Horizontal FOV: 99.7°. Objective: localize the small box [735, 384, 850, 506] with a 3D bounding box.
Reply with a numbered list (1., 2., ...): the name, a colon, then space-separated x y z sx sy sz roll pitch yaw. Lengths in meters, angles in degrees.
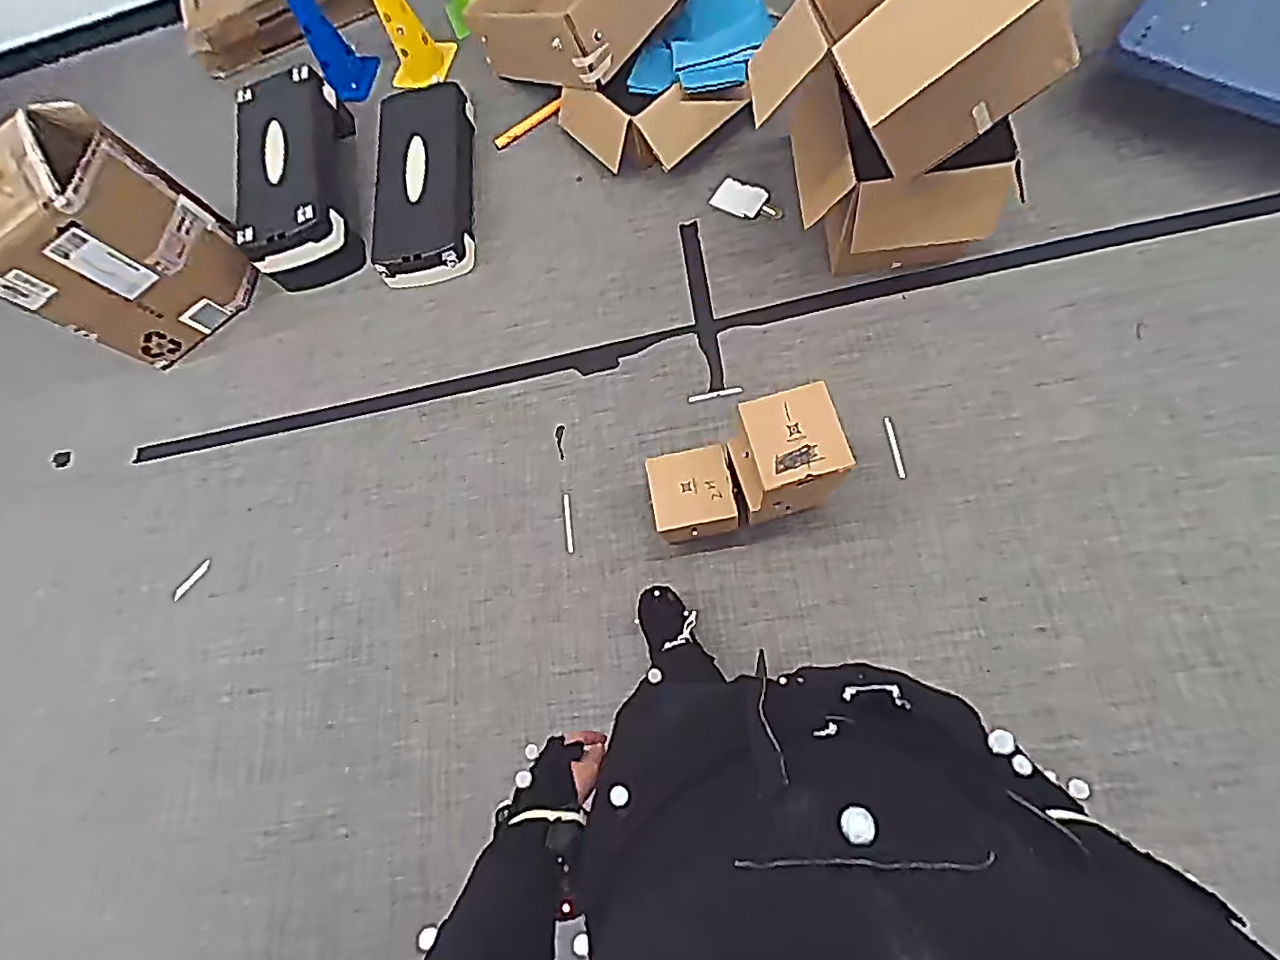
1. small box: 0.289 -0.057 1.056 0.168 0.176 0.179 -15 72 5
